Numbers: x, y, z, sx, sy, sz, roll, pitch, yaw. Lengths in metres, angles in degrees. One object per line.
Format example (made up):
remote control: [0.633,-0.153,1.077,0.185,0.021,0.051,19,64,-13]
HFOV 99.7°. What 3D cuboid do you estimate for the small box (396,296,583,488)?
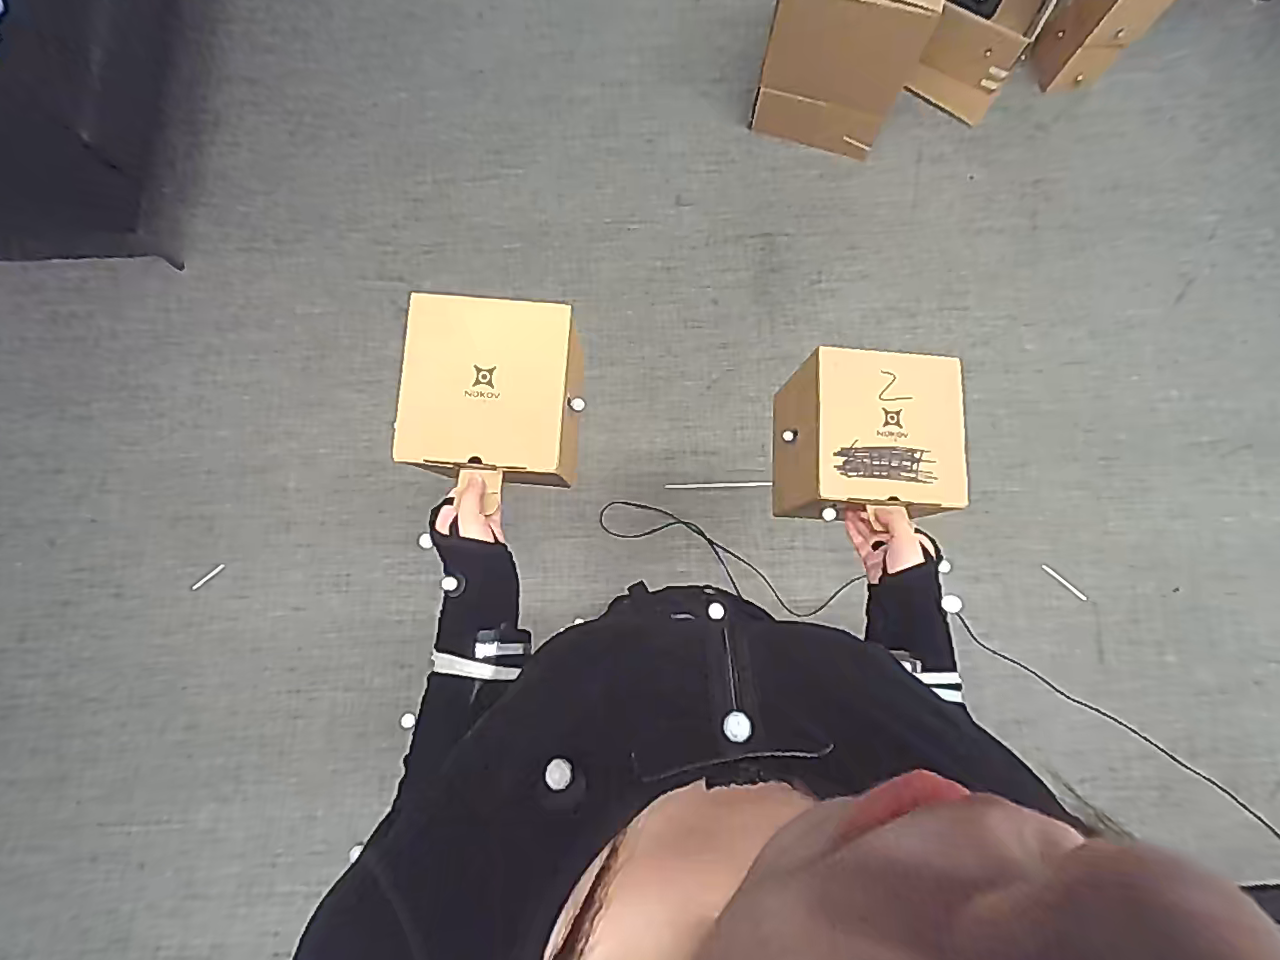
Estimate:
small box: [-0.157,-0.088,0.623,0.168,0.176,0.179,5,86,-1]
